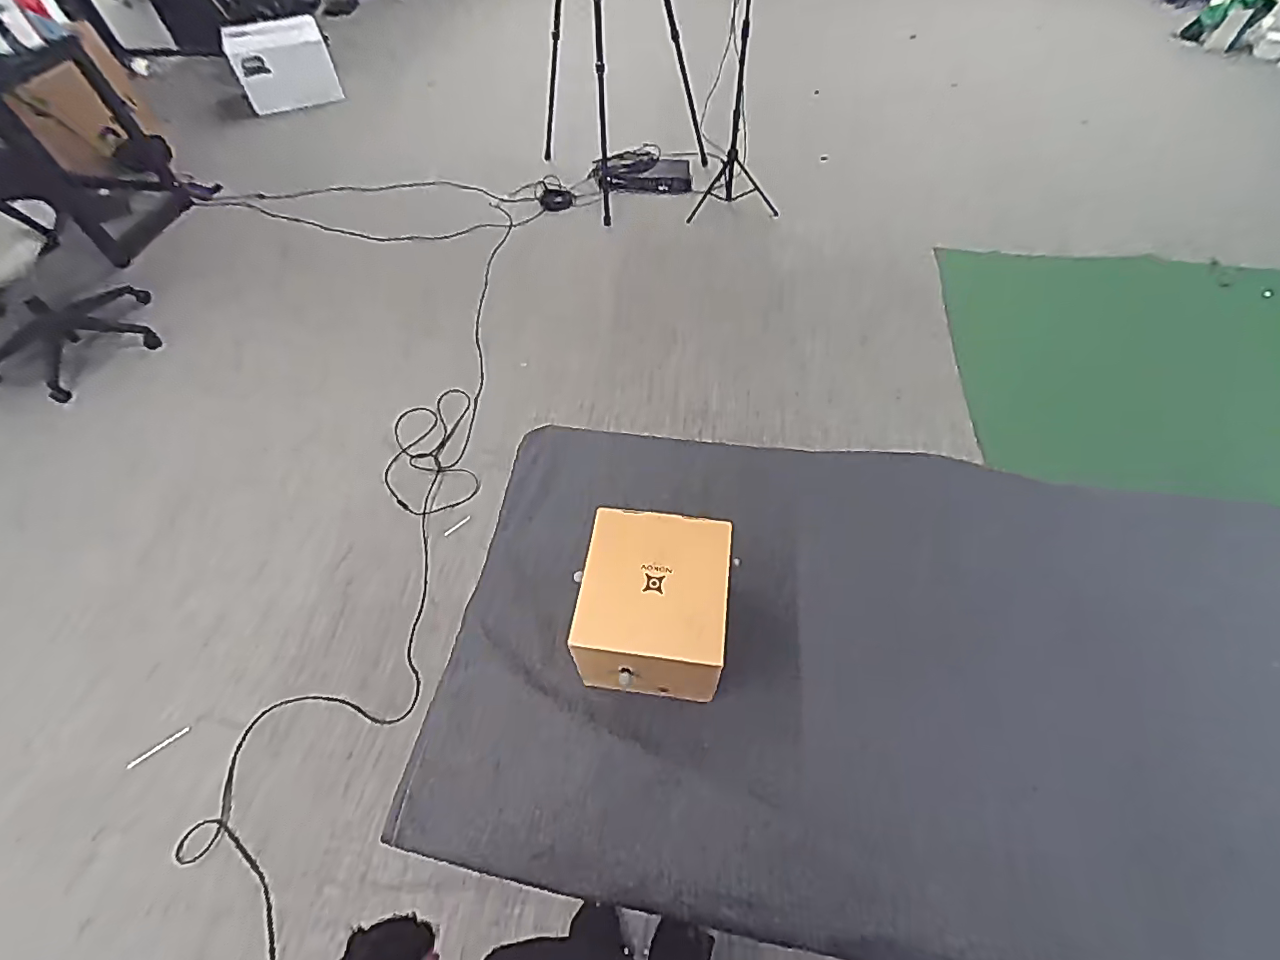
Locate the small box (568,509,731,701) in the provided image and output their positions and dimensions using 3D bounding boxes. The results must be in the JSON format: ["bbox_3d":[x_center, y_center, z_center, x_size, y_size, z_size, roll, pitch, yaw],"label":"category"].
[{"bbox_3d":[0.020,0.160,0.670,0.168,0.176,0.179,6,55,6],"label":"small box"}]
